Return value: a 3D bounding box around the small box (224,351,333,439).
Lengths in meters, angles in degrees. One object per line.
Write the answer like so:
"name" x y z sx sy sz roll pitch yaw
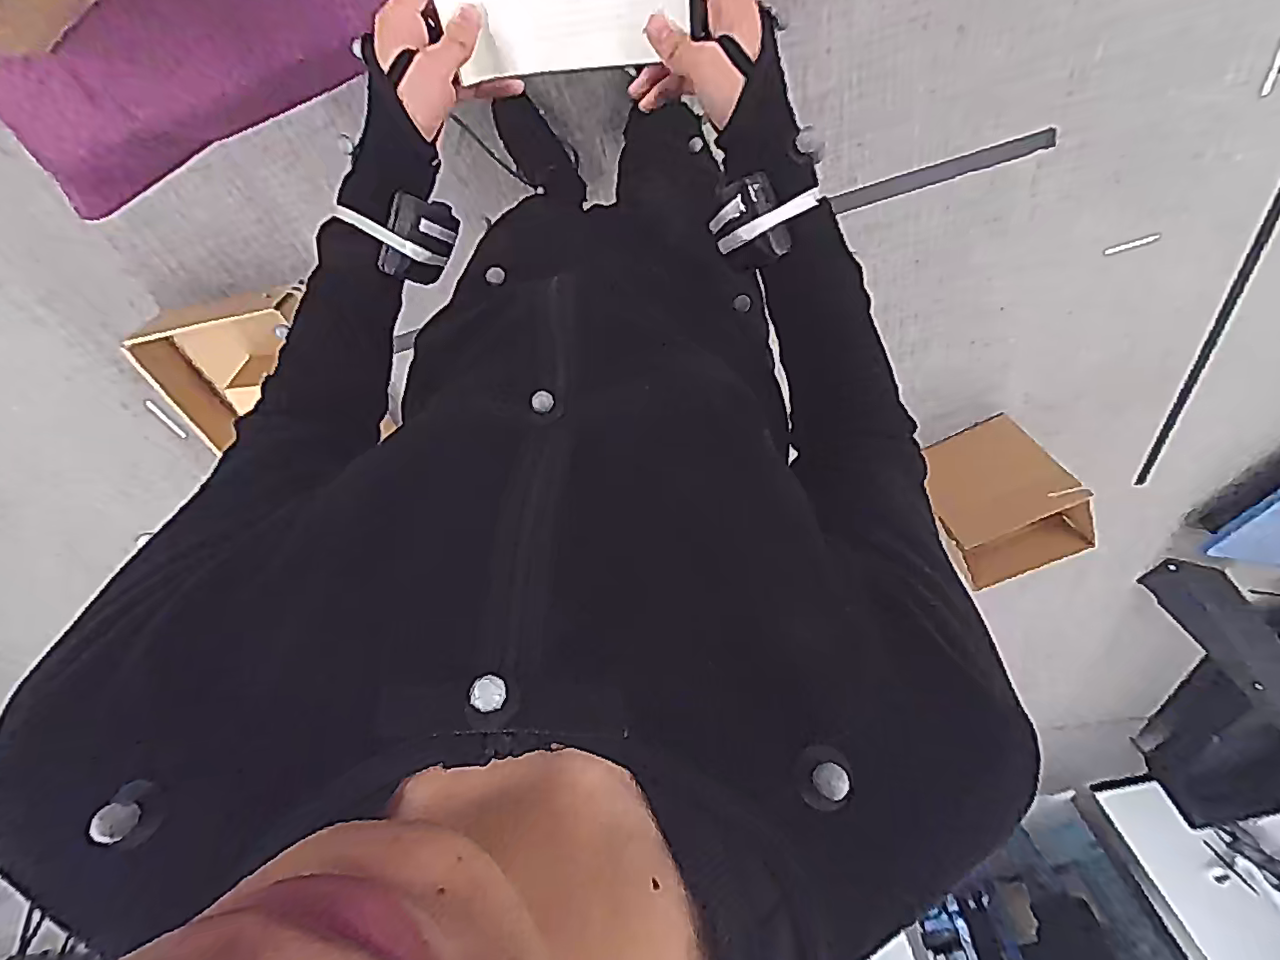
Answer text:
"small box" -0.956 -0.234 1.458 0.179 0.176 0.168 -6 133 -4
